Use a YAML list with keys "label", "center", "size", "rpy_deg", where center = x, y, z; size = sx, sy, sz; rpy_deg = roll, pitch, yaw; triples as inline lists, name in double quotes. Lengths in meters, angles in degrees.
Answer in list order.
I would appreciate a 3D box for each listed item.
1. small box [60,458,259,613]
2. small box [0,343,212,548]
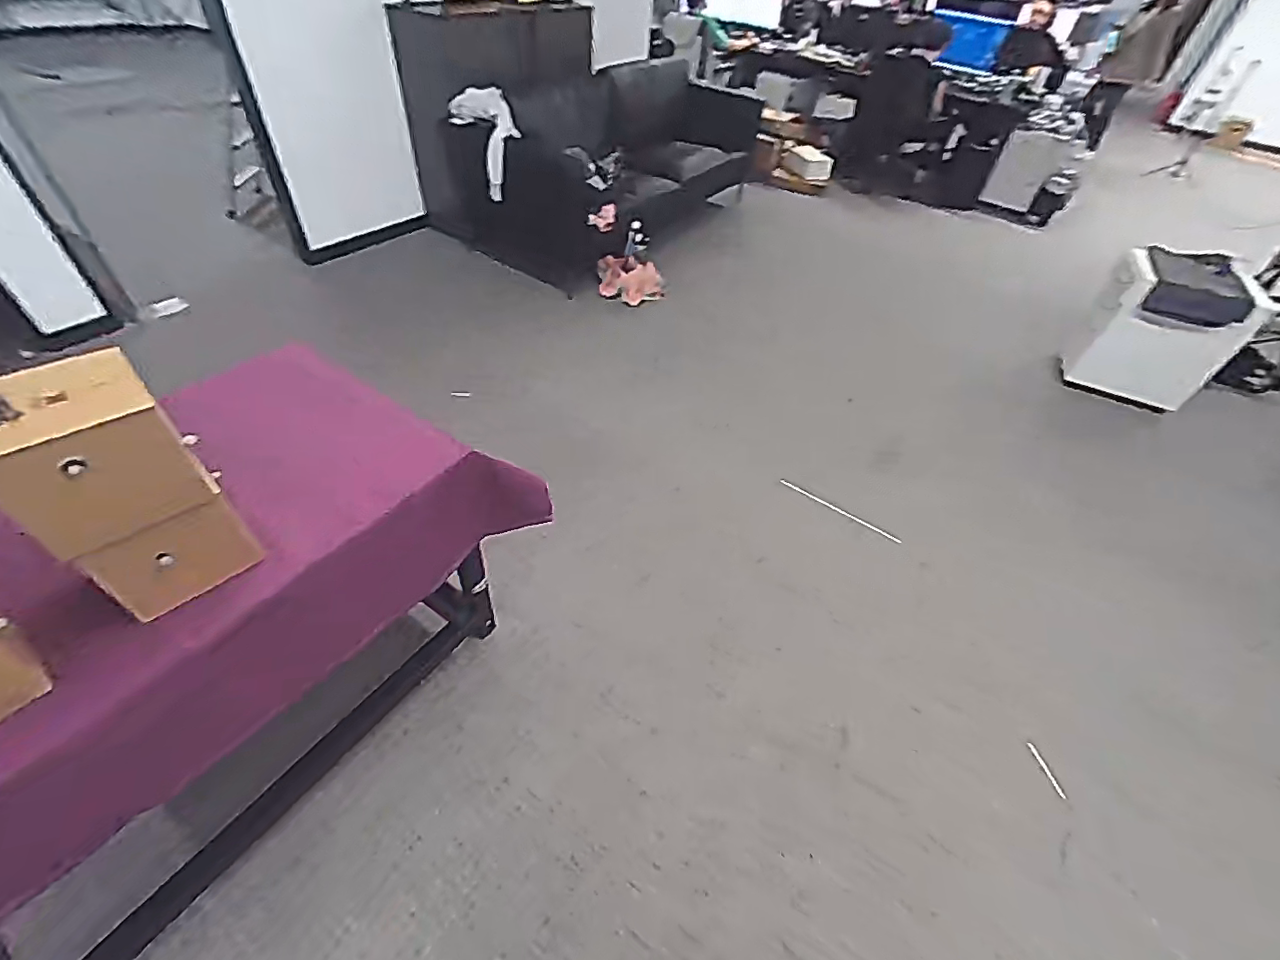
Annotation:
- label: "small box"
  center: [-0.730, 0.066, 0.819]
  size: [0.168, 0.176, 0.179]
  rpy_deg: [37, 52, 25]
- label: "small box"
  center: [-0.711, -0.045, 0.698]
  size: [0.168, 0.176, 0.179]
  rpy_deg: [38, 52, 26]
